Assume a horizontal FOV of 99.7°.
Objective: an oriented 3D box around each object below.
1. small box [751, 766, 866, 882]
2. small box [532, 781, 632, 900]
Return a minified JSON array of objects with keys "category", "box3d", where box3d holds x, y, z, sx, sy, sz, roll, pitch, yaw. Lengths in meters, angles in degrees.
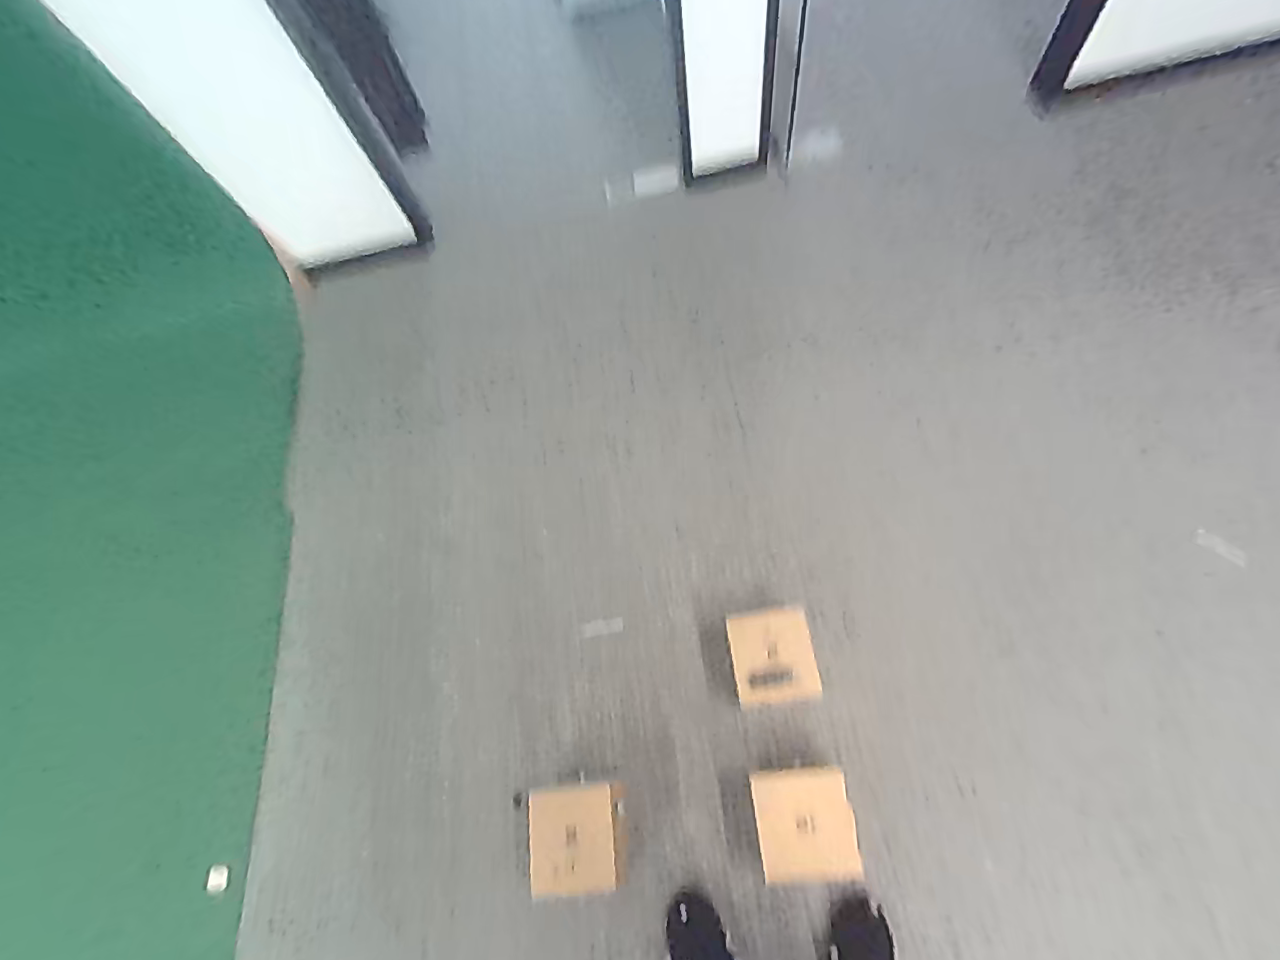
[{"category":"small box","box3d":[0.314,0.658,1.049,0.179,0.176,0.168,-8,65,5]},{"category":"small box","box3d":[-0.114,0.717,1.094,0.168,0.176,0.179,-9,65,6]}]
